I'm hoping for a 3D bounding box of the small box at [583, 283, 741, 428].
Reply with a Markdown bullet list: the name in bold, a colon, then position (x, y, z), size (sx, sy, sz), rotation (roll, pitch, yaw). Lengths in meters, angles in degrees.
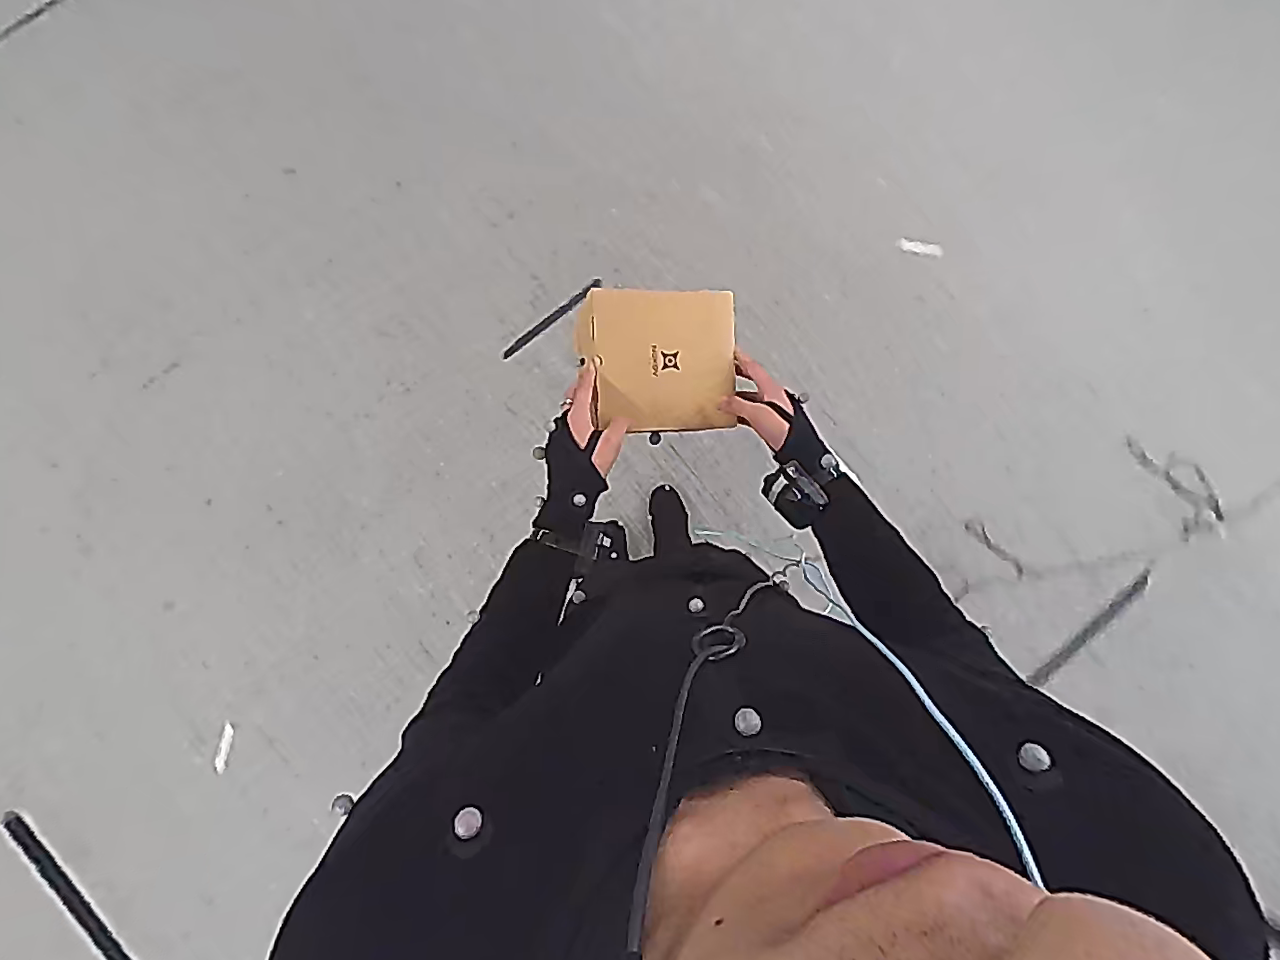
- **small box**: position (0.021, -0.154, 0.720), size (0.179, 0.176, 0.168), rotation (-3, 96, -11)
